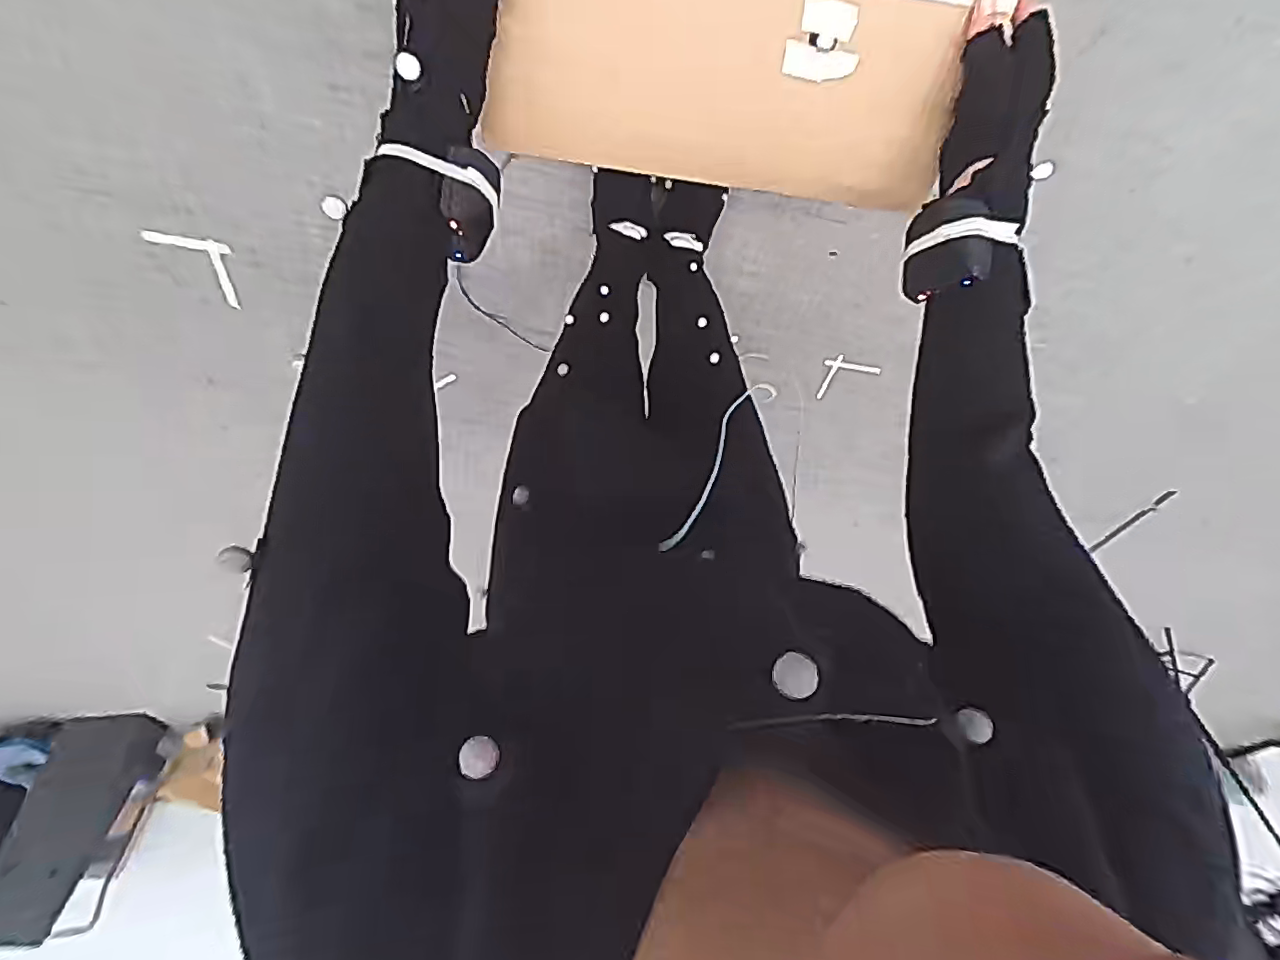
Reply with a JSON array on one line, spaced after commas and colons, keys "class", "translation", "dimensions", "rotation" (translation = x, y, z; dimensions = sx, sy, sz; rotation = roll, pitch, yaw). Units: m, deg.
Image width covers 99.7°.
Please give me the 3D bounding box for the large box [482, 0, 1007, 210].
[{"class": "large box", "translation": [0.080, -0.483, 0.502], "dimensions": [0.408, 0.320, 0.320], "rotation": [6, 133, -6]}]
